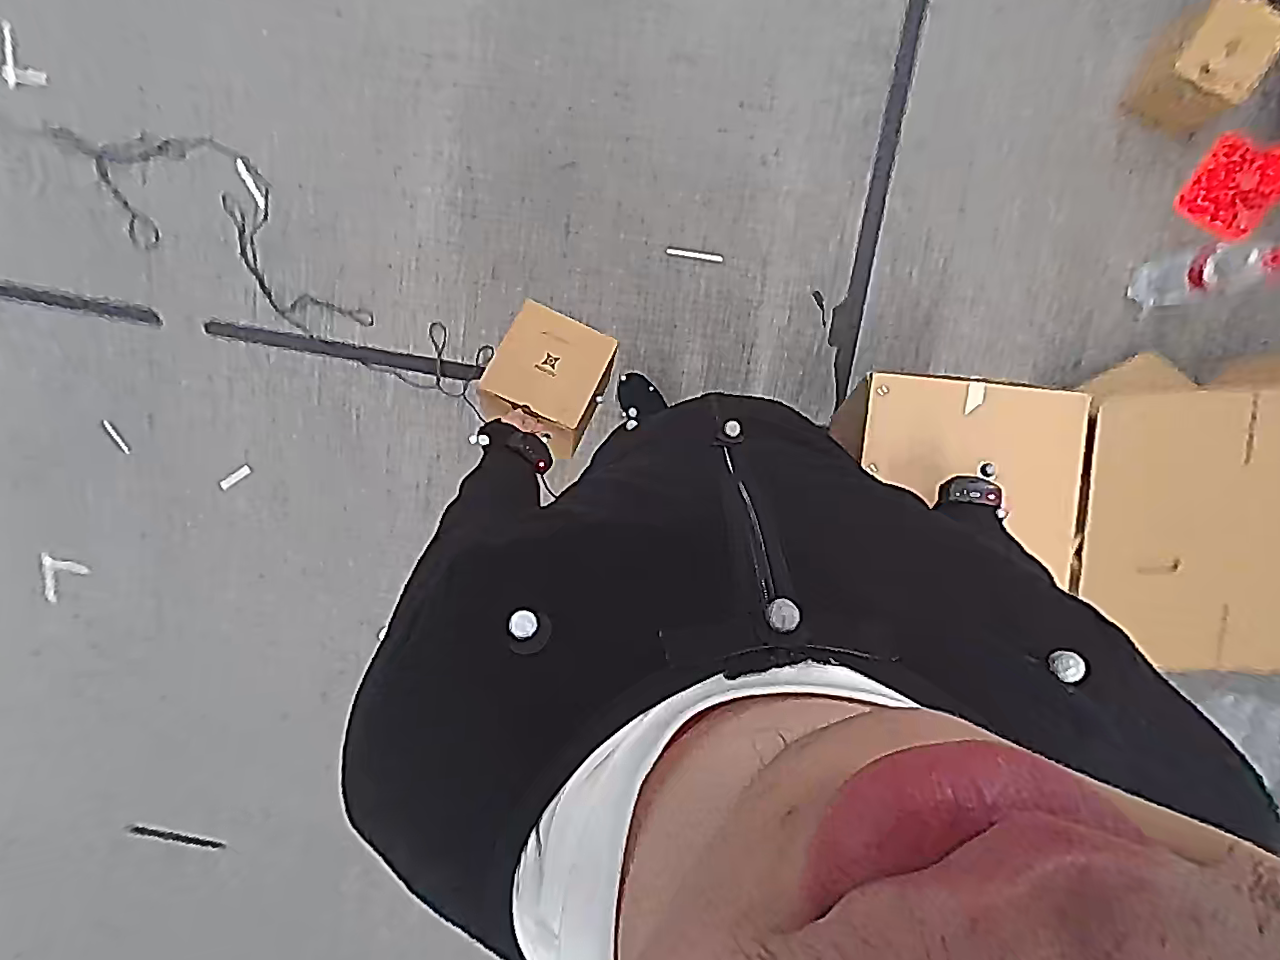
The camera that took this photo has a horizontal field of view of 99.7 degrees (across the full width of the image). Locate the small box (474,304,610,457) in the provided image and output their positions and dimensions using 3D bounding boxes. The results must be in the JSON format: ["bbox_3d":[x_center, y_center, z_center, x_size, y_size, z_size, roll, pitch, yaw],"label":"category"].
[{"bbox_3d":[-0.165,-0.161,0.939,0.168,0.176,0.179,24,73,-4],"label":"small box"}]
